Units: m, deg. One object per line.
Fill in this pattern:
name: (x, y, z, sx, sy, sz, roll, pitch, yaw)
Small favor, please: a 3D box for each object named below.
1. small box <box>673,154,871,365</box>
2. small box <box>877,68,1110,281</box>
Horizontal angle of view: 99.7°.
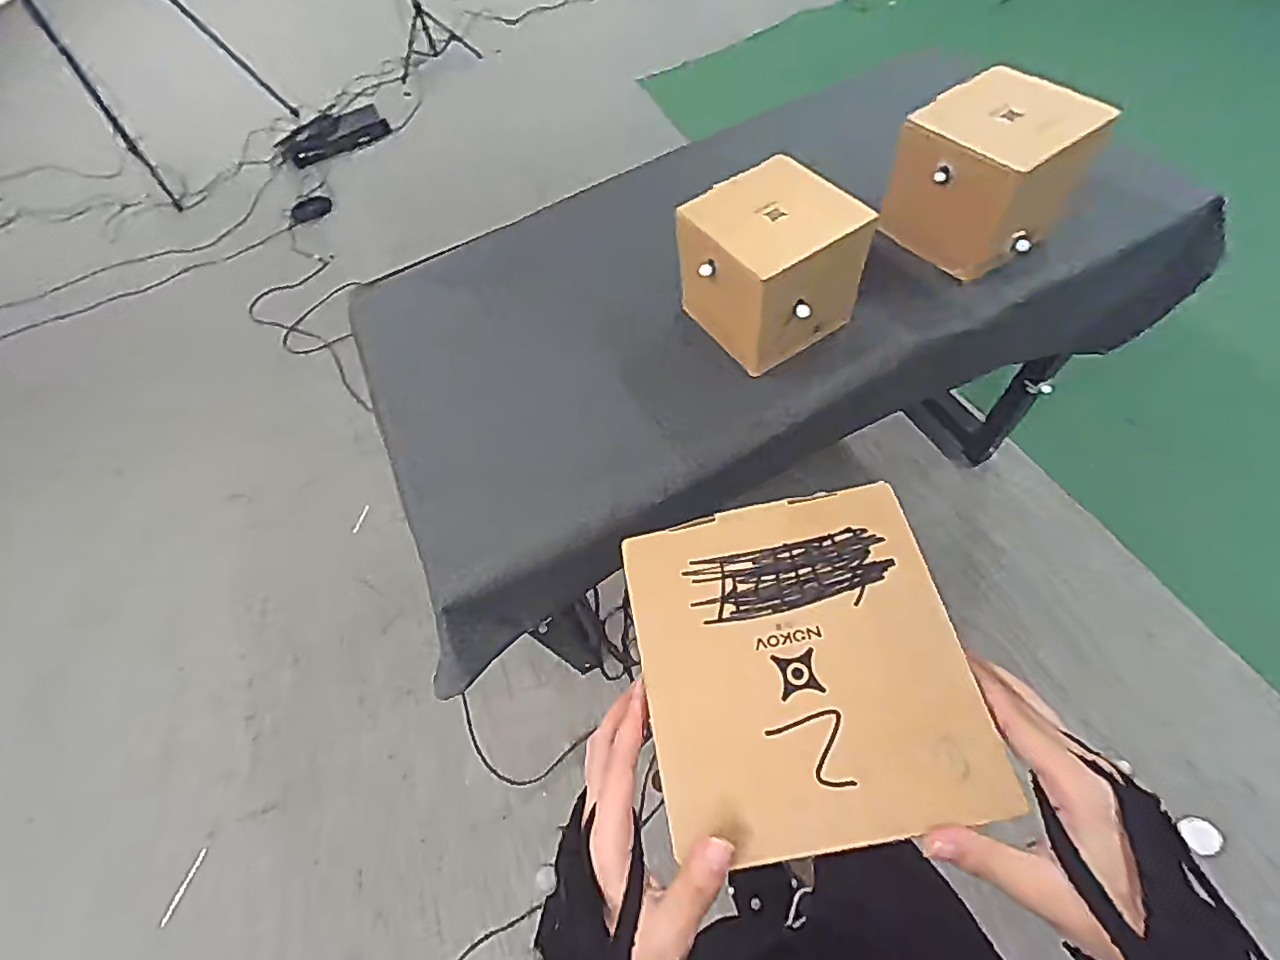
small box: (0.163, -0.276, 0.708, 0.168, 0.176, 0.179, -32, 60, -9)
small box: (0.459, -0.410, 0.739, 0.168, 0.176, 0.179, -34, 62, -9)
